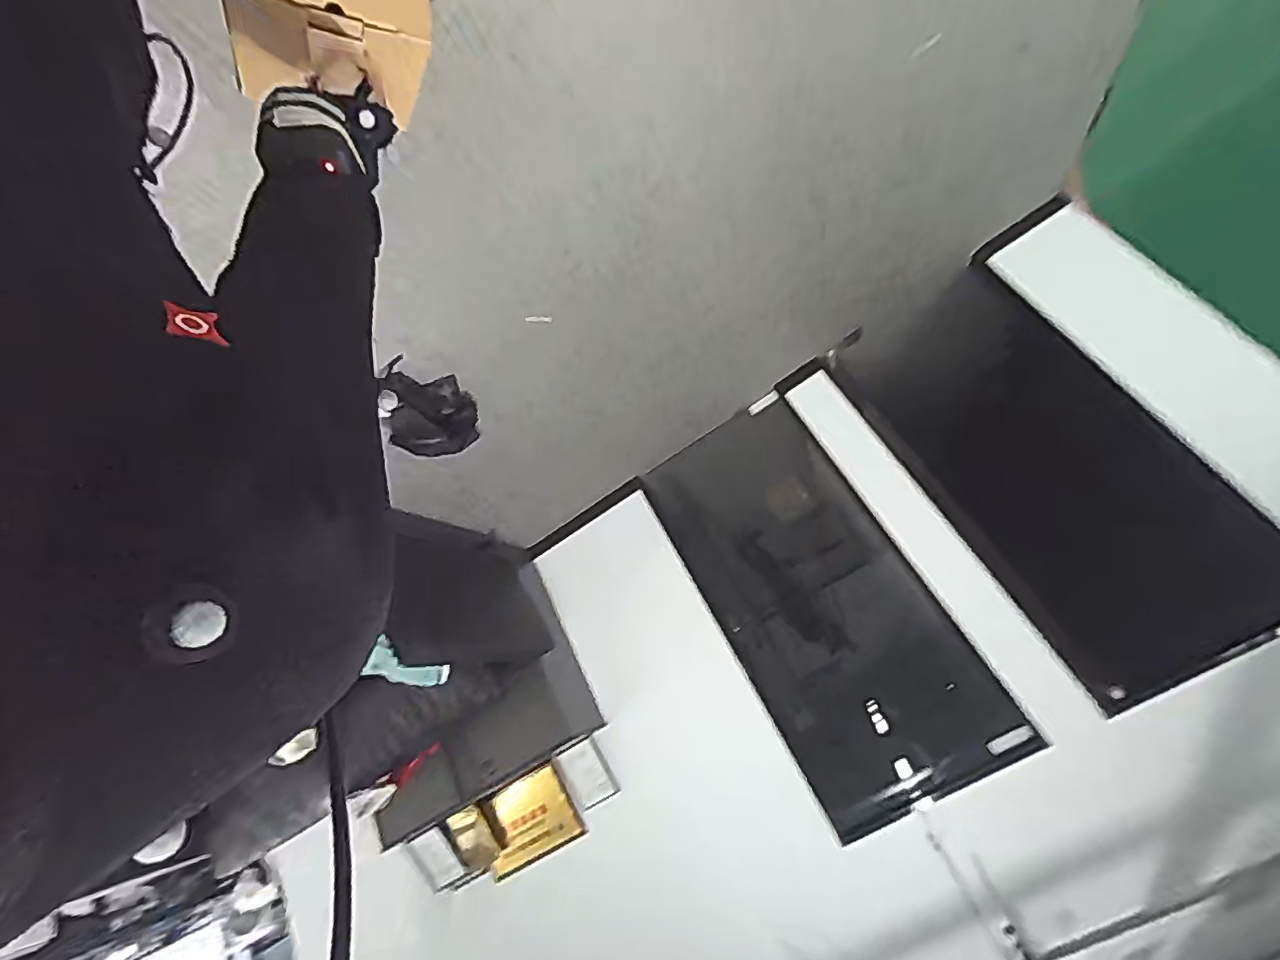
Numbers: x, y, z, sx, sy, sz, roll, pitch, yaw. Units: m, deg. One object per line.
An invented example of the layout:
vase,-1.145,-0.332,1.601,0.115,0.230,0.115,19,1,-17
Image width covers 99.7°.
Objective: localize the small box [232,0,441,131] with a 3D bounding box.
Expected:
small box,-0.311,-0.497,0.541,0.168,0.179,0.176,-8,-172,-32
